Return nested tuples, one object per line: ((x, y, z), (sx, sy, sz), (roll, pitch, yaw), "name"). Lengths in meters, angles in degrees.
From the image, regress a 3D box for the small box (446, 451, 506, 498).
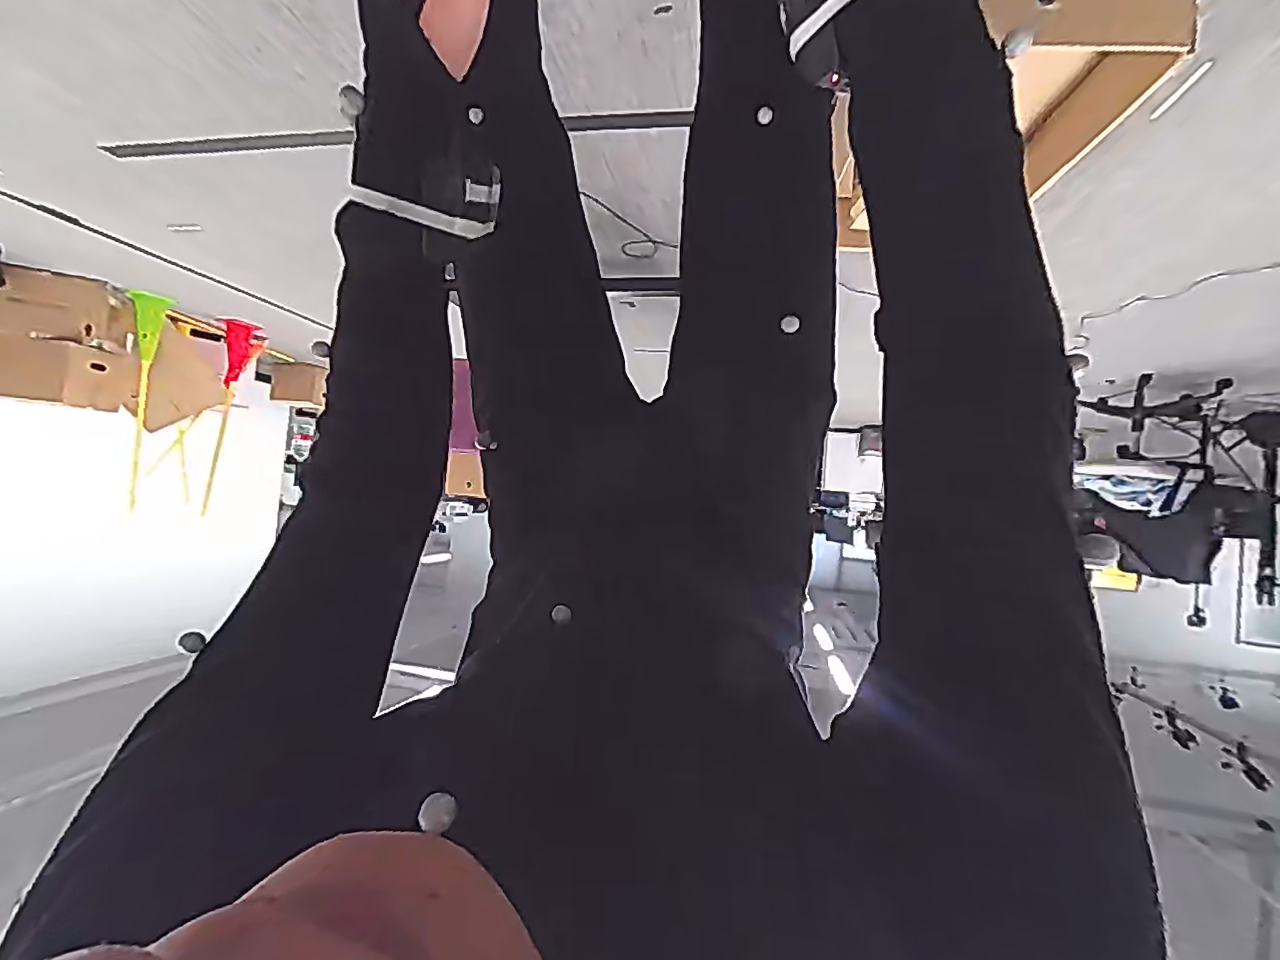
((-0.634, -0.021, 2.114), (0.179, 0.176, 0.168), (5, 178, 11), "small box")
